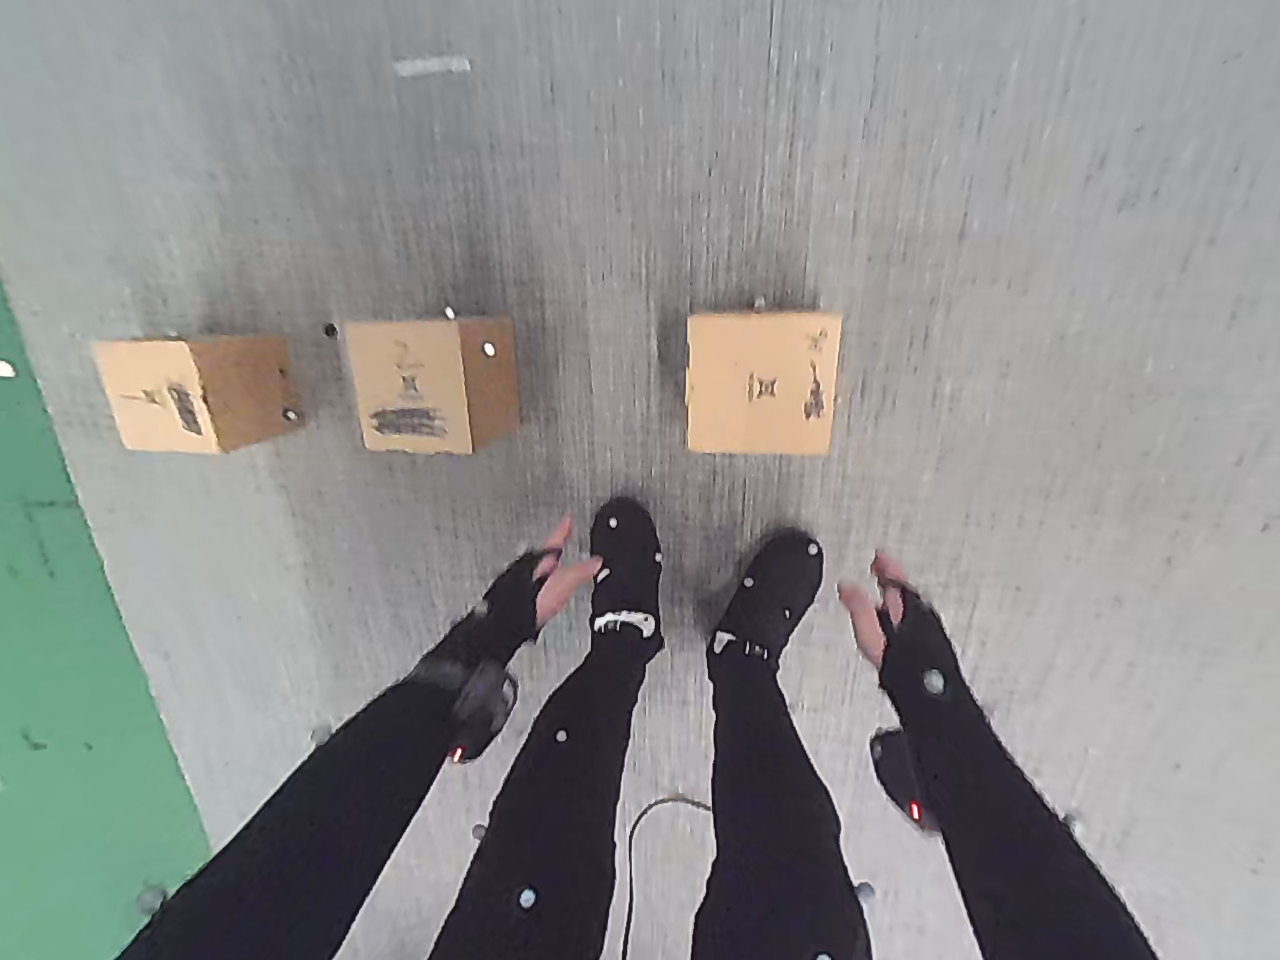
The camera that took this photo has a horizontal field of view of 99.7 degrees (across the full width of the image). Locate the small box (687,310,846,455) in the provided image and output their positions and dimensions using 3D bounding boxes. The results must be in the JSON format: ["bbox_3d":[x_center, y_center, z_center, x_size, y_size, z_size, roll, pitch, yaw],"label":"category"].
[{"bbox_3d":[0.159,-0.136,0.712,0.179,0.176,0.168,3,109,10],"label":"small box"}]

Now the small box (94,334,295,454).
[{"bbox_3d":[-0.686,-0.144,0.861,0.179,0.176,0.168,3,108,10],"label":"small box"}]
